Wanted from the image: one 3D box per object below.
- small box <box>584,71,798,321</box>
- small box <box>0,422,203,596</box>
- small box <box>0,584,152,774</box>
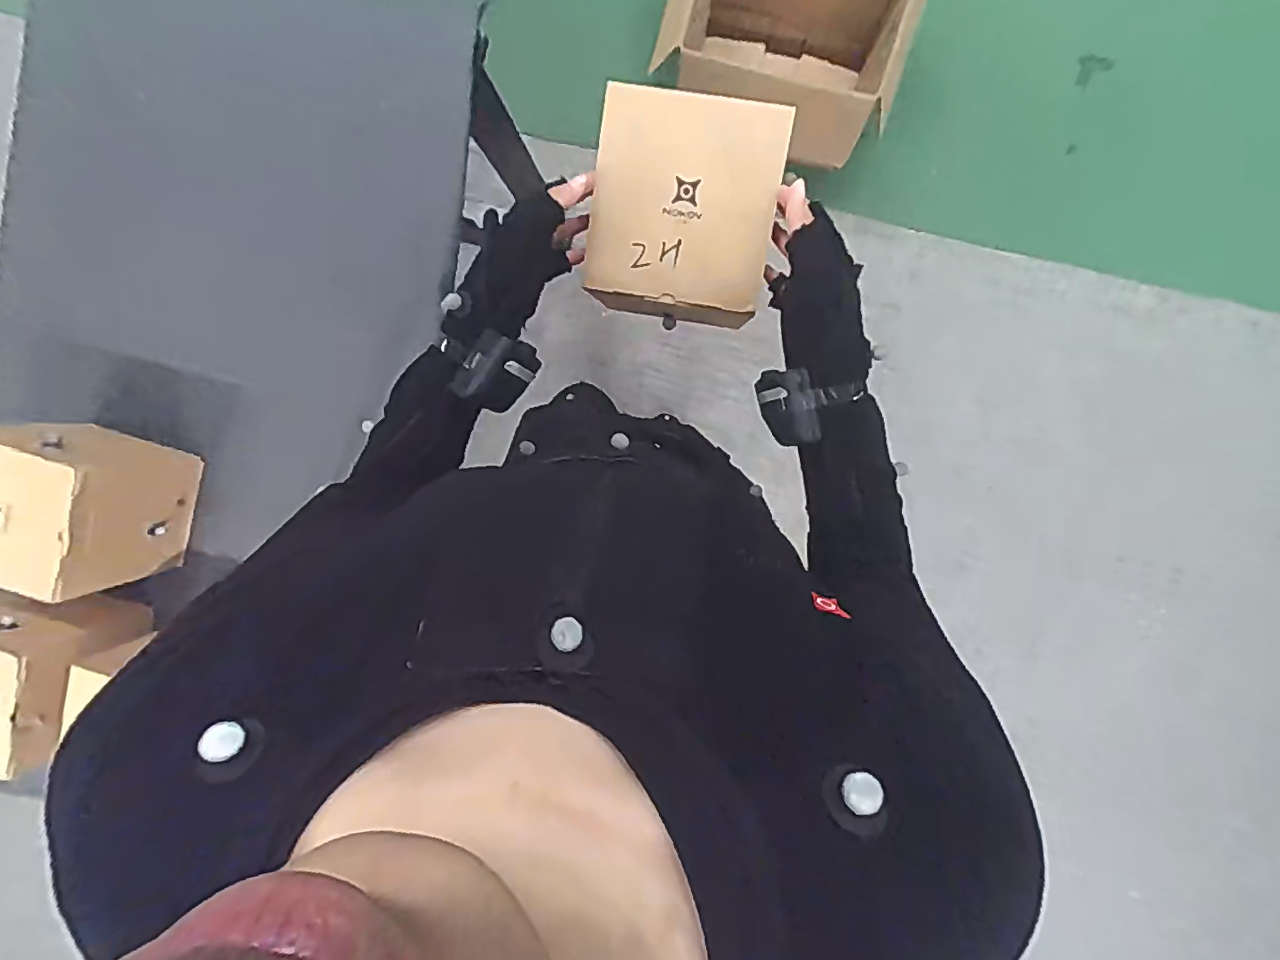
[{"bbox_3d":[0.048,-0.271,0.557,0.168,0.176,0.179,10,103,3],"label":"small box"},{"bbox_3d":[-0.728,0.026,0.697,0.179,0.176,0.168,17,97,0],"label":"small box"},{"bbox_3d":[-0.815,0.249,0.725,0.179,0.176,0.168,14,97,2],"label":"small box"}]
